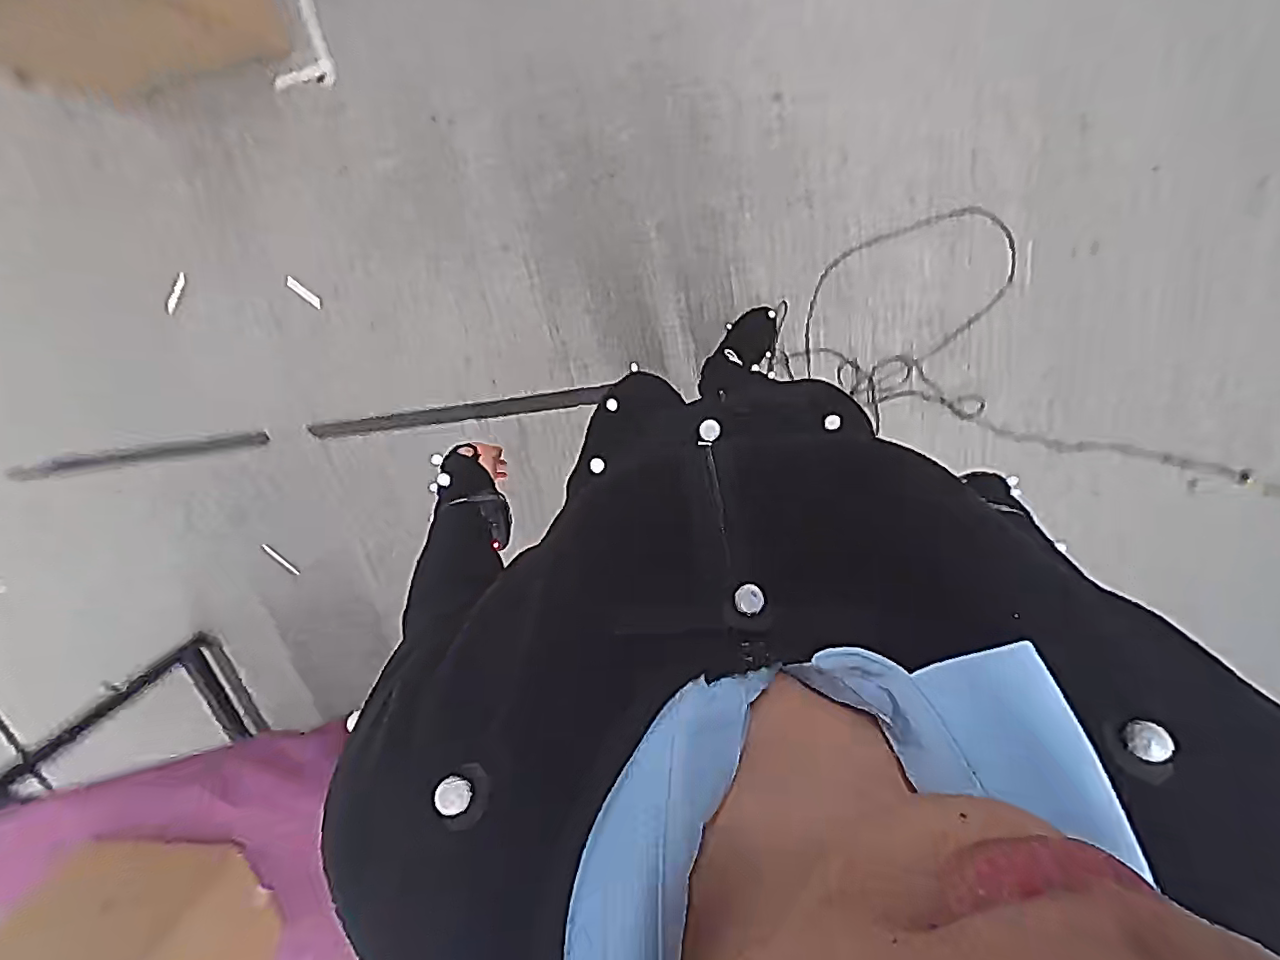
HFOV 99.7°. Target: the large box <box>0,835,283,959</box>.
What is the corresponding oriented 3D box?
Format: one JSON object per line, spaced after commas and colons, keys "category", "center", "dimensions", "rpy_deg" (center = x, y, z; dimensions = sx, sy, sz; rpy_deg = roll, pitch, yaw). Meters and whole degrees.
{"category": "large box", "center": [-1.078, 0.997, 1.132], "dimensions": [0.408, 0.320, 0.320], "rpy_deg": [-6, 112, 9]}
